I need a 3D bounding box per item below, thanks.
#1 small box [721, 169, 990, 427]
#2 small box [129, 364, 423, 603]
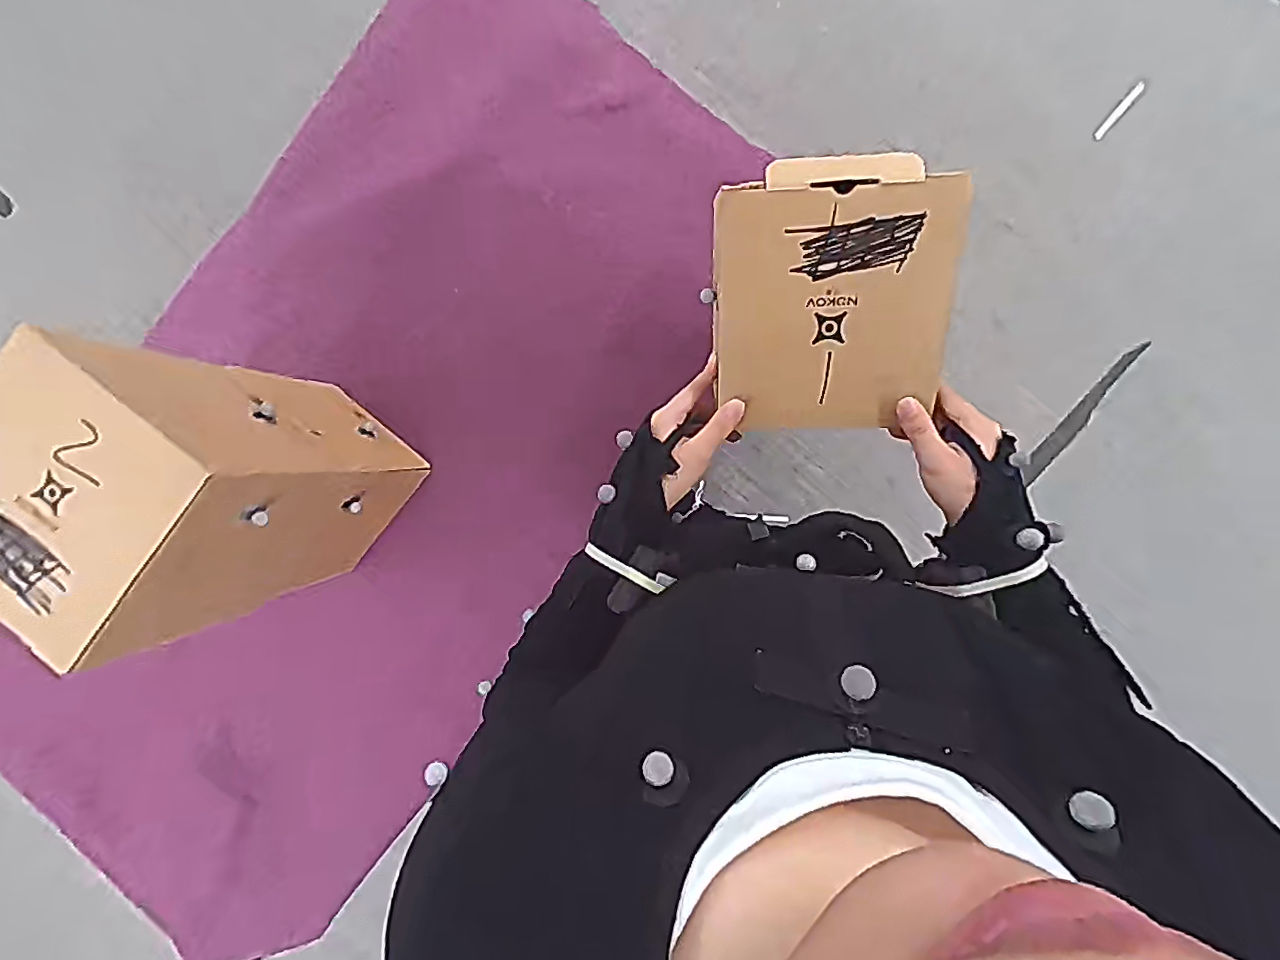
[{"bbox_3d":[0.157,-0.154,0.463,0.168,0.176,0.179,1,114,6],"label":"small box"},{"bbox_3d":[-0.380,0.002,0.599,0.168,0.176,0.179,39,94,2],"label":"small box"}]
